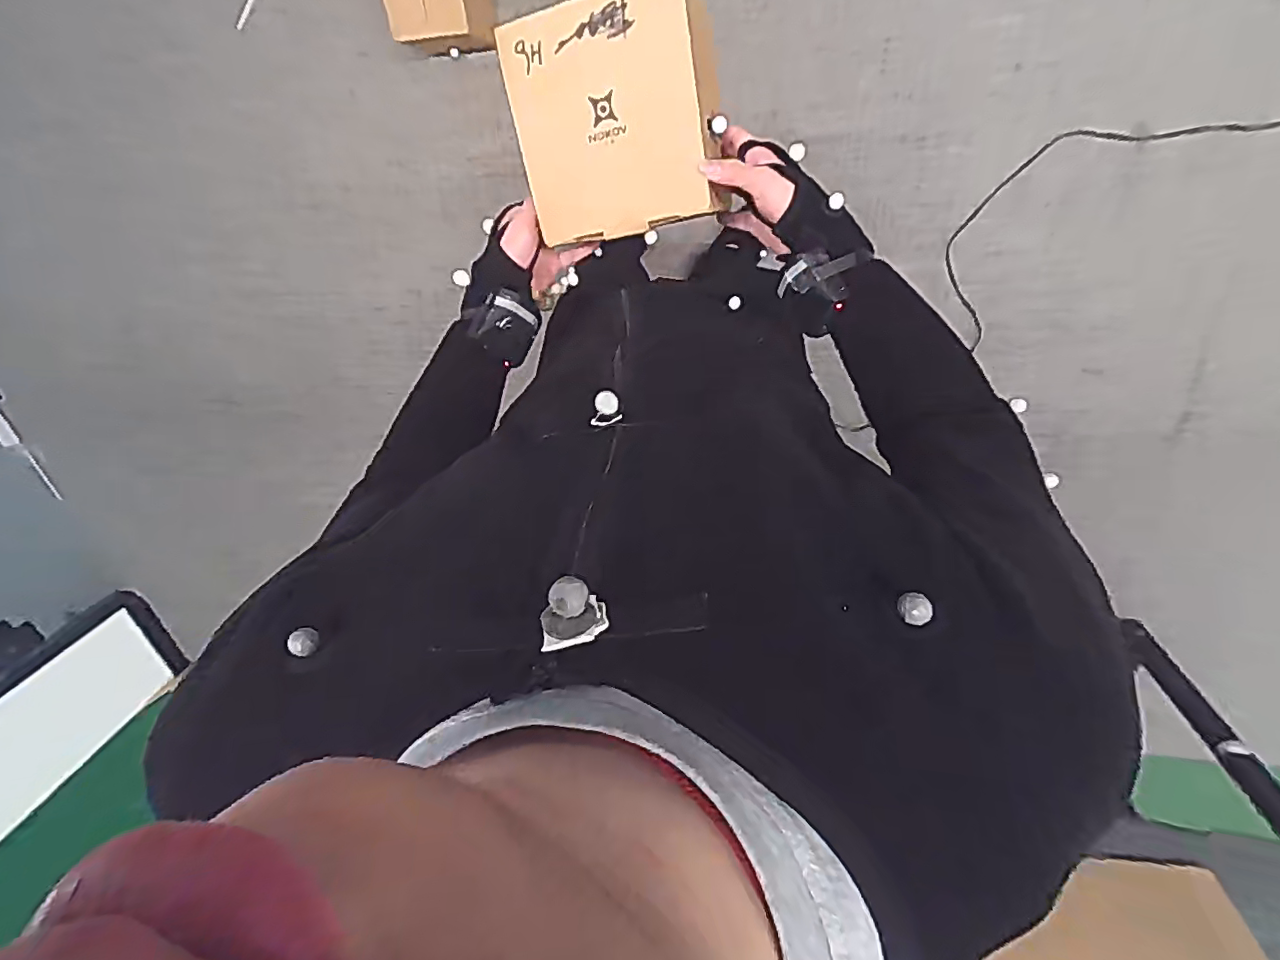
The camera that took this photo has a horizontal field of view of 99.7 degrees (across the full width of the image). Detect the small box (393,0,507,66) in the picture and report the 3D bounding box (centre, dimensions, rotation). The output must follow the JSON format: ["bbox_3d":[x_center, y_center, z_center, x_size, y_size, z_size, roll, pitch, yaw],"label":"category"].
[{"bbox_3d":[-0.396,-0.988,1.125,0.168,0.176,0.179,2,122,11],"label":"small box"}]
